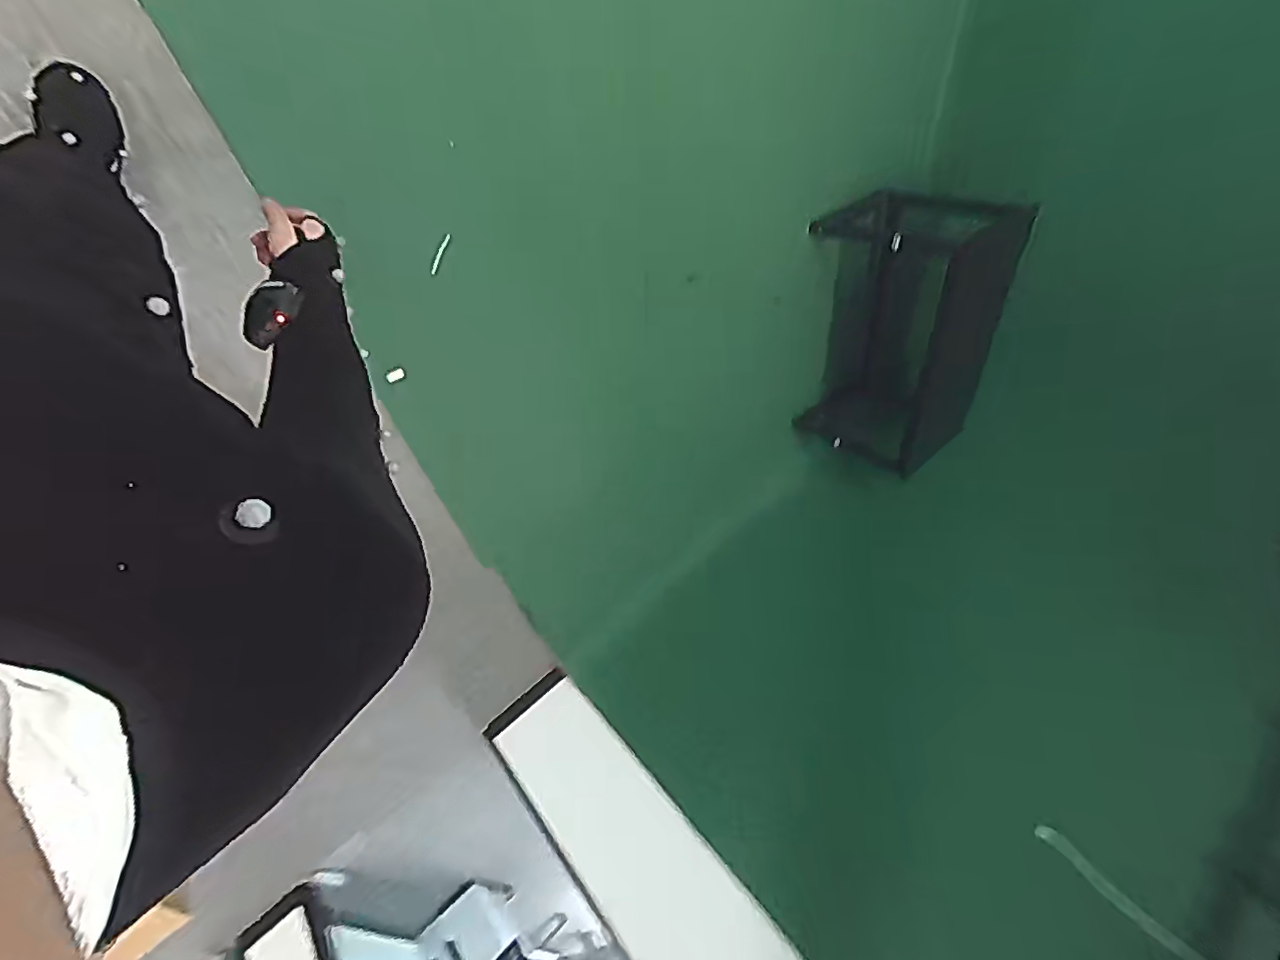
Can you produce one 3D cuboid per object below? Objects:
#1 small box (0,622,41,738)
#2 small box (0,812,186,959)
[{"bbox_3d":[-1.124,0.336,0.862,0.179,0.176,0.168,-36,140,-24],"label":"small box"},{"bbox_3d":[-0.873,0.679,0.854,0.179,0.176,0.168,-34,137,-26],"label":"small box"}]
